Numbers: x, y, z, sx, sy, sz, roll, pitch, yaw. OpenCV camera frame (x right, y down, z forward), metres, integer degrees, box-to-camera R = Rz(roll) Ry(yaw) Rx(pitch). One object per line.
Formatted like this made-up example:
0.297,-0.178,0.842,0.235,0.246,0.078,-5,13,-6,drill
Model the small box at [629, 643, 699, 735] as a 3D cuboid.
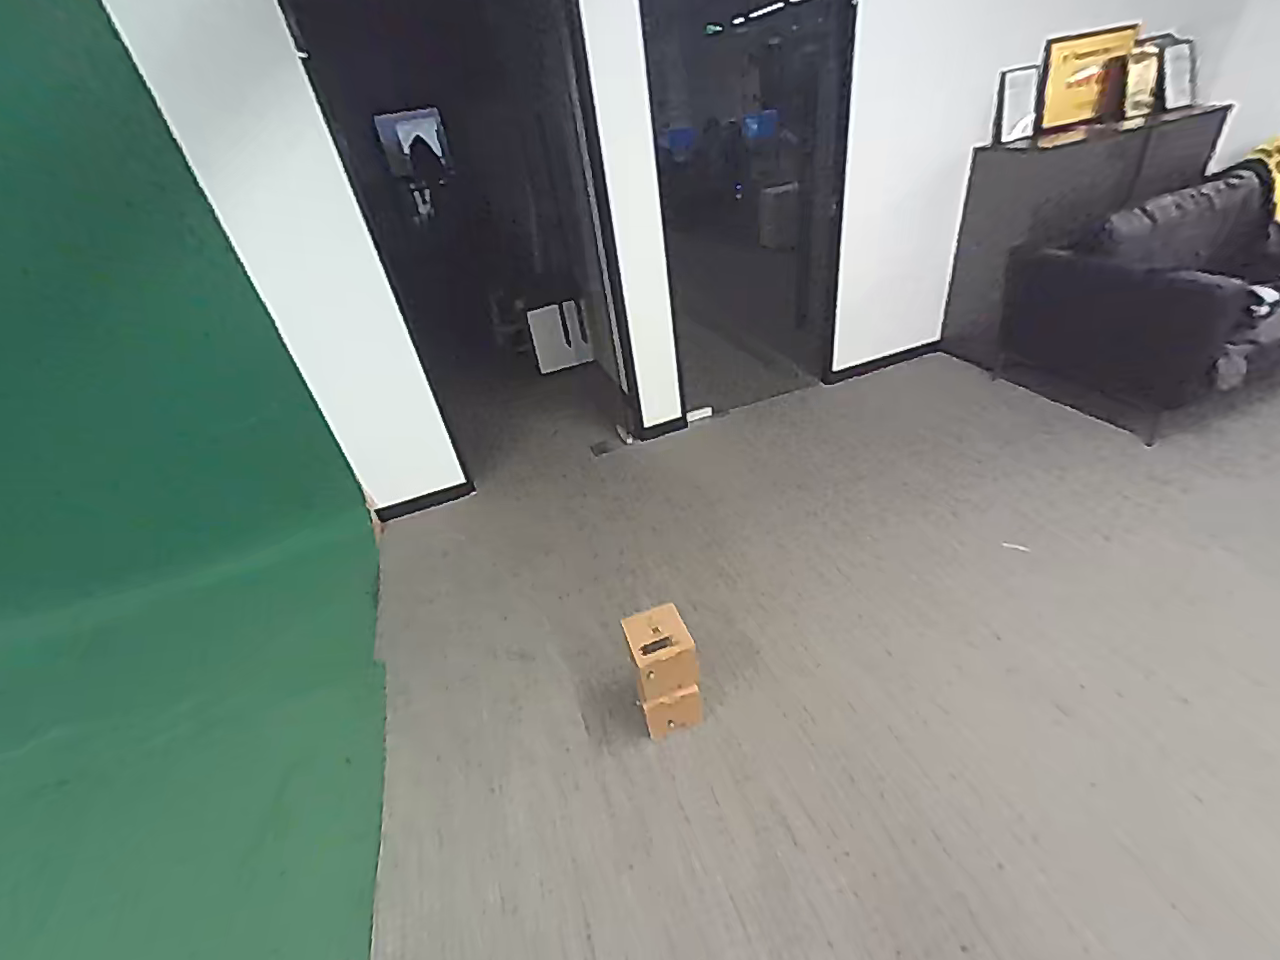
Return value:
0.072,0.630,1.632,0.168,0.176,0.179,-14,36,-8,small box
